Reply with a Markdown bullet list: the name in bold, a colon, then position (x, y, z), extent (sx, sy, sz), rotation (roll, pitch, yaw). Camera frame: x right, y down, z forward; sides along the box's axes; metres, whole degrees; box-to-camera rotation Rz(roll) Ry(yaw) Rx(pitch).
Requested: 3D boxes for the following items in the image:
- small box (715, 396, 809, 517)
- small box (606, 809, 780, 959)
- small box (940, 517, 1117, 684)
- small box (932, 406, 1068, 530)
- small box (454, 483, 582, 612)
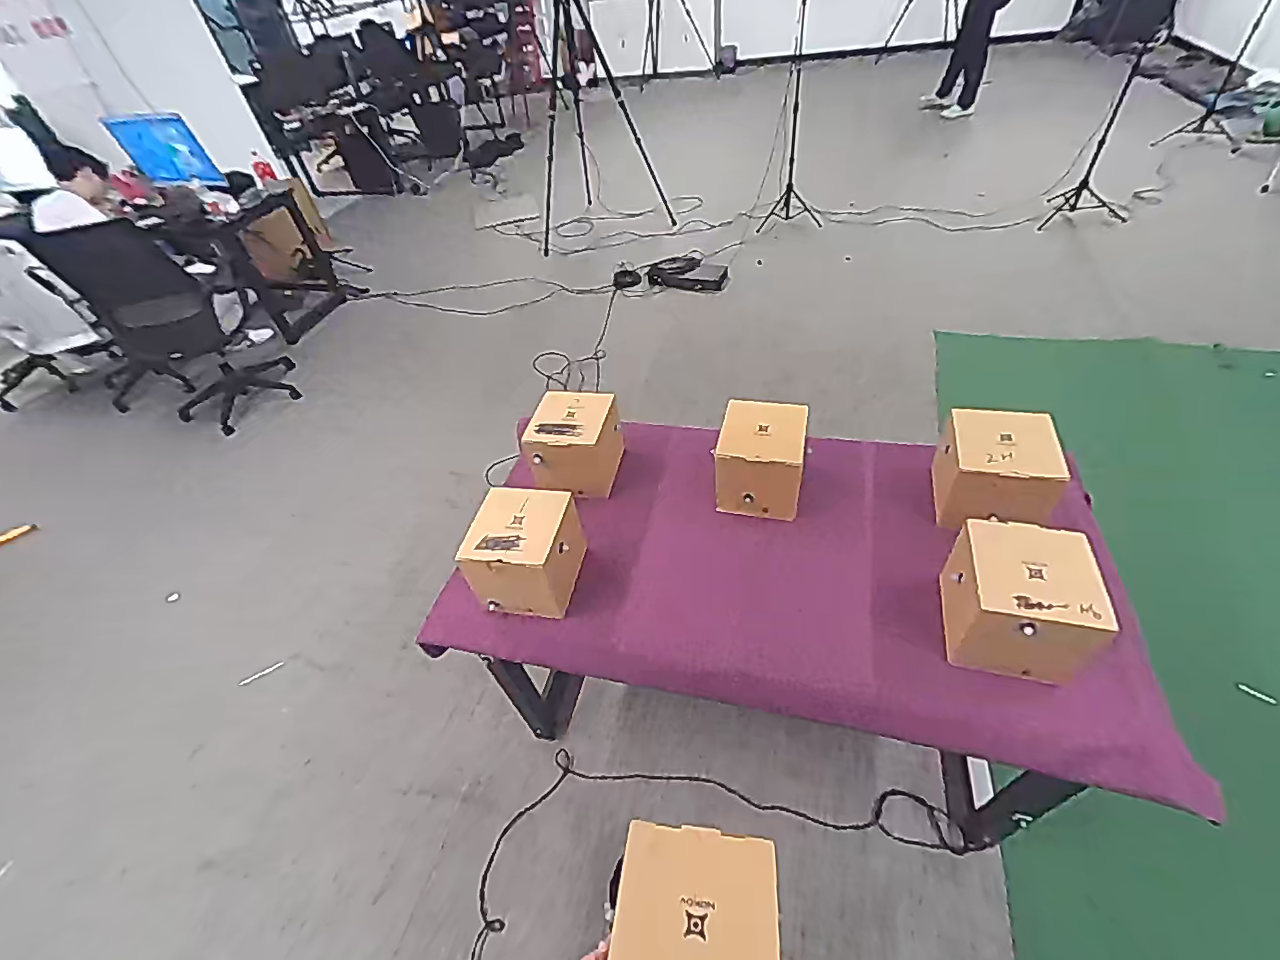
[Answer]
- **small box**: position (0.251, -0.049, 1.127), extent (0.168, 0.176, 0.179), rotation (8, 49, 15)
- **small box**: position (0.057, 0.501, 0.587), extent (0.168, 0.176, 0.179), rotation (4, 33, 8)
- **small box**: position (0.586, 0.187, 0.848), extent (0.168, 0.176, 0.179), rotation (7, 46, 16)
- **small box**: position (0.668, -0.017, 1.030), extent (0.168, 0.176, 0.179), rotation (6, 49, 17)
- **small box**: position (-0.216, 0.128, 1.018), extent (0.168, 0.176, 0.179), rotation (4, 45, 11)
